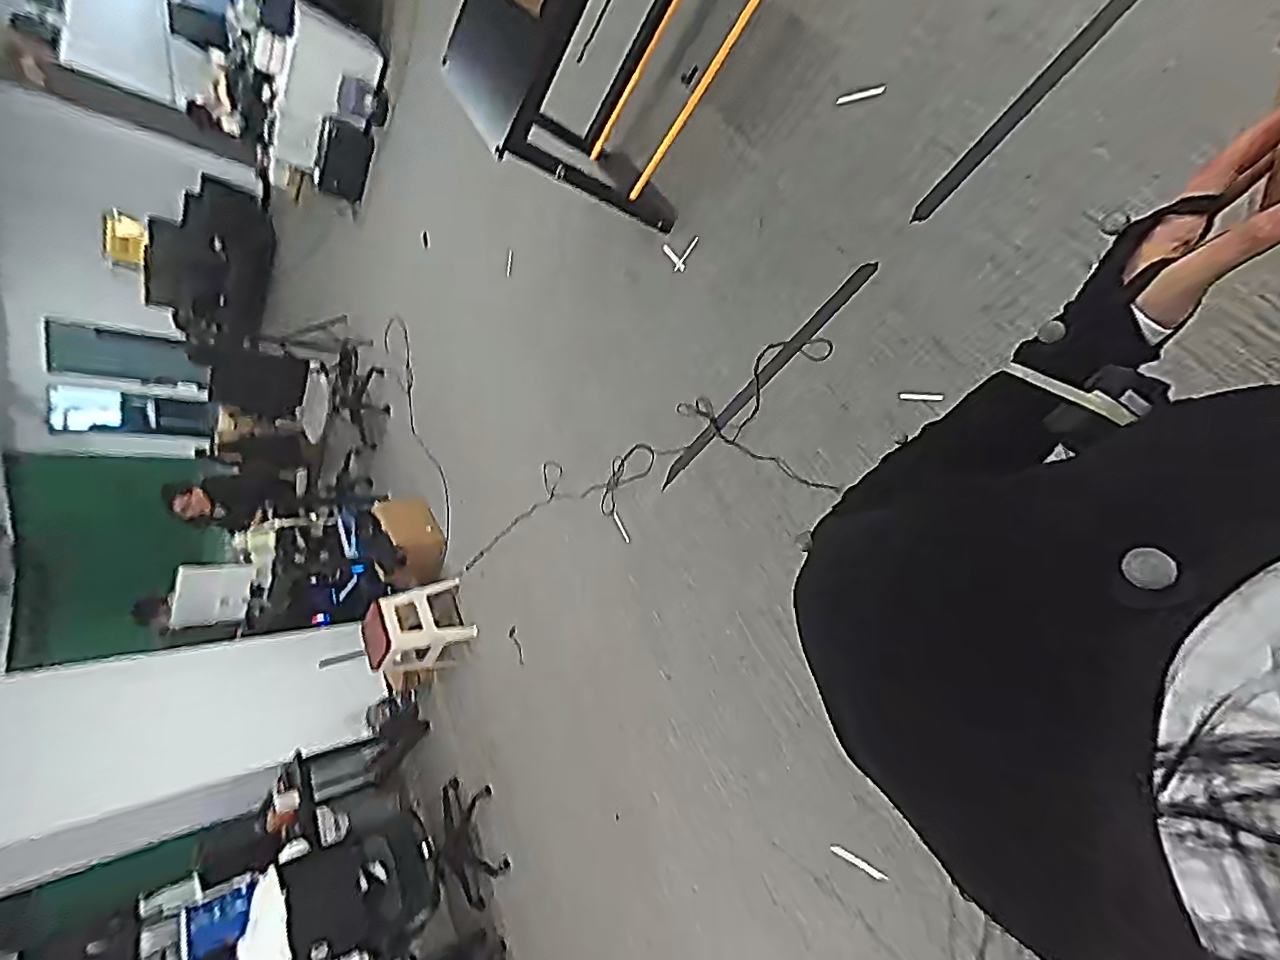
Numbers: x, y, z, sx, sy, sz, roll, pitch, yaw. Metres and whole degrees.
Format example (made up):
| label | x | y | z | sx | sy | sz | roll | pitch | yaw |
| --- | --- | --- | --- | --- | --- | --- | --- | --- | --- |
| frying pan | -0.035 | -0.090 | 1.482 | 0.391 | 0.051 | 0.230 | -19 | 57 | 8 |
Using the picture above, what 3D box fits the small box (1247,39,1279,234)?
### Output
| label | x | y | z | sx | sy | sz | roll | pitch | yaw |
| --- | --- | --- | --- | --- | --- | --- | --- | --- | --- |
| small box | 0.460 | -0.241 | 0.281 | 0.168 | 0.176 | 0.179 | 10 | 110 | 41 |
